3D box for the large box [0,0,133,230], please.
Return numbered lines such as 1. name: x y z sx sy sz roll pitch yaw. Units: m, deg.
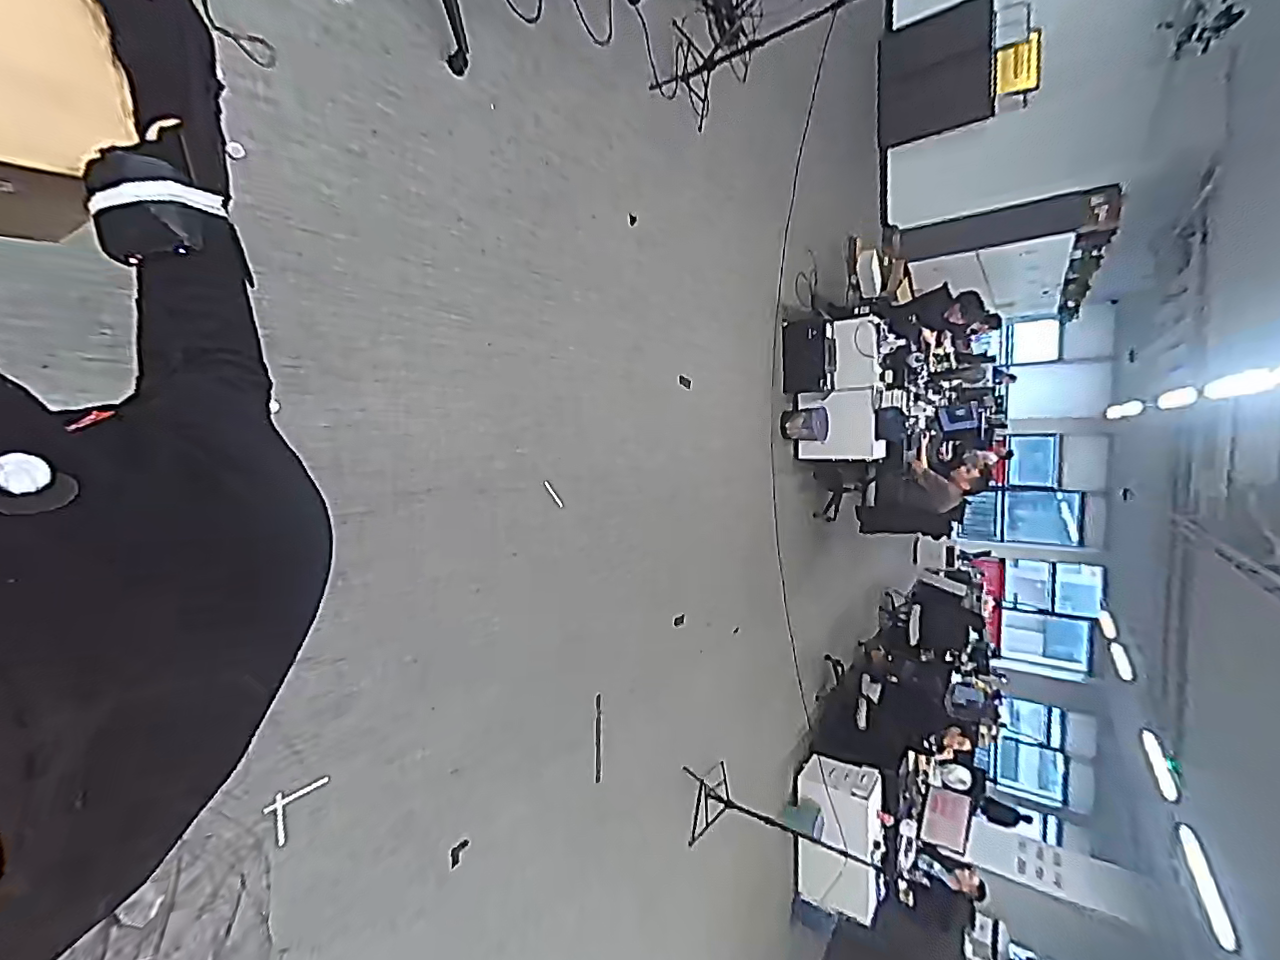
1. large box: -0.616 -0.355 0.297 0.408 0.320 0.320 -17 112 -54
